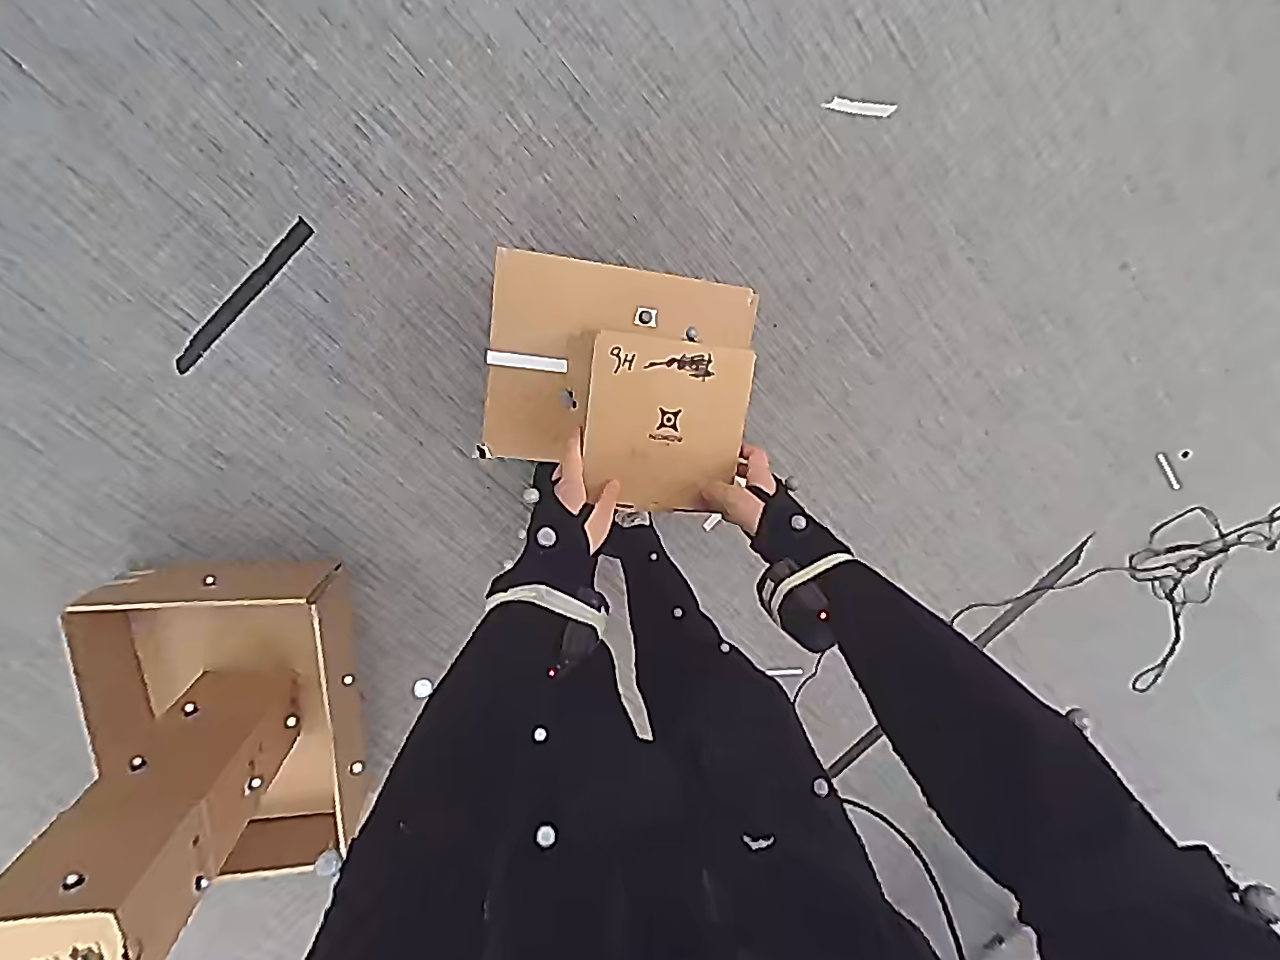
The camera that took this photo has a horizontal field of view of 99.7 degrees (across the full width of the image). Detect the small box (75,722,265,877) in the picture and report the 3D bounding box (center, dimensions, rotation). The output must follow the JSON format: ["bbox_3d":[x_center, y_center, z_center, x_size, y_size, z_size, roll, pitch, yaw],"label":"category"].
[{"bbox_3d":[-0.774,0.535,0.912,0.179,0.176,0.168,2,106,-12],"label":"small box"}]

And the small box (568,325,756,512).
[{"bbox_3d":[0.011,-0.077,0.622,0.168,0.176,0.179,5,105,-13],"label":"small box"}]

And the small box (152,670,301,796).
[{"bbox_3d":[-0.802,0.494,1.066,0.179,0.176,0.168,3,105,-12],"label":"small box"}]

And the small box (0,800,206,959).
[{"bbox_3d":[-0.749,0.580,0.755,0.179,0.176,0.168,1,106,-10],"label":"small box"}]
